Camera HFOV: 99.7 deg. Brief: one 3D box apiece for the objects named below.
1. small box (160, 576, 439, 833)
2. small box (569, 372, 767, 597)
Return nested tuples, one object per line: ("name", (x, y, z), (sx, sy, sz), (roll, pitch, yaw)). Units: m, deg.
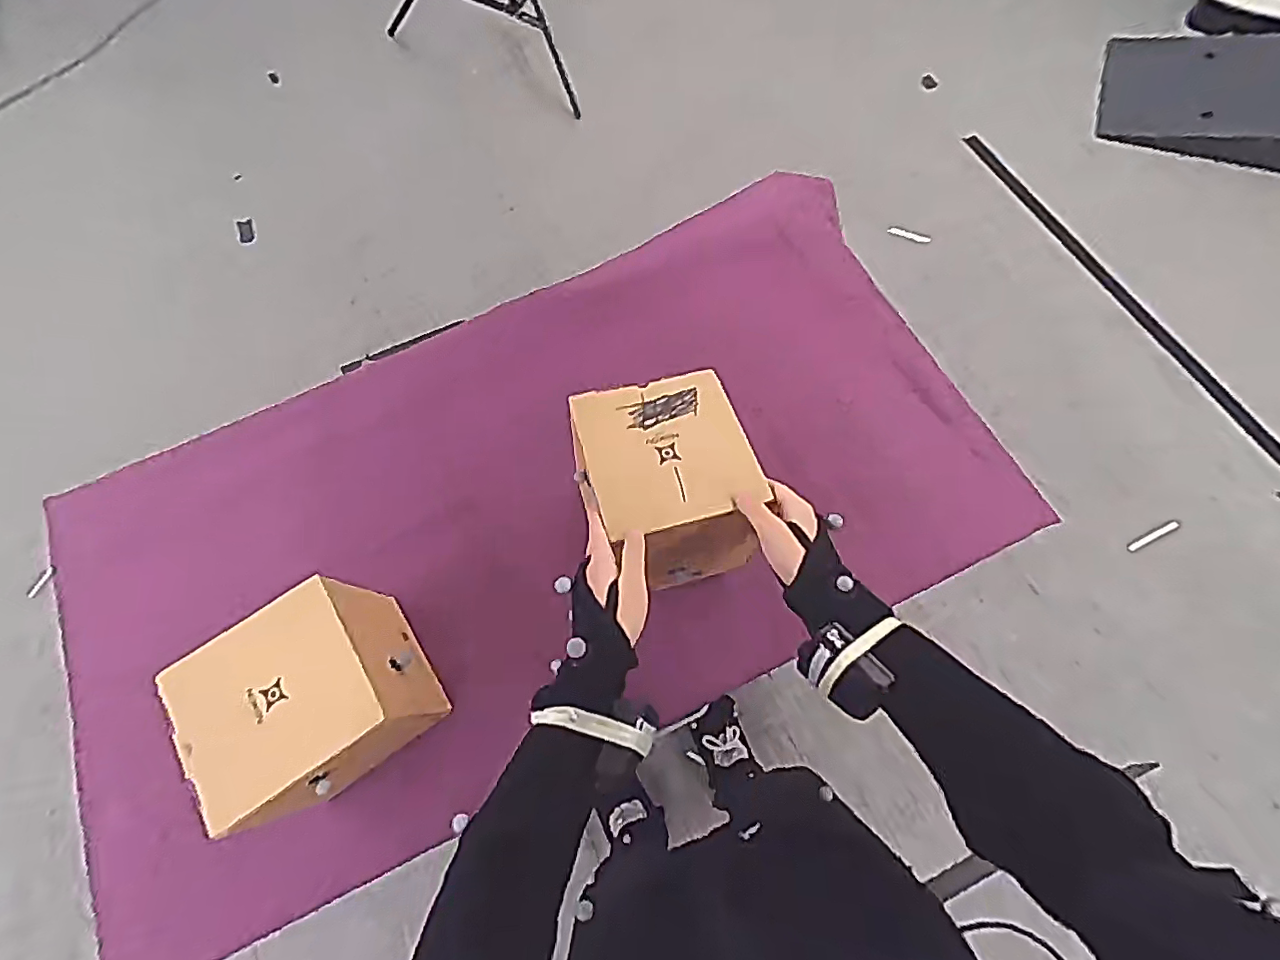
("small box", (-0.344, 0.229, 0.587), (0.179, 0.176, 0.168), (-34, 73, -8))
("small box", (0.017, 0.008, 0.608), (0.168, 0.176, 0.179), (-12, 60, -10))
